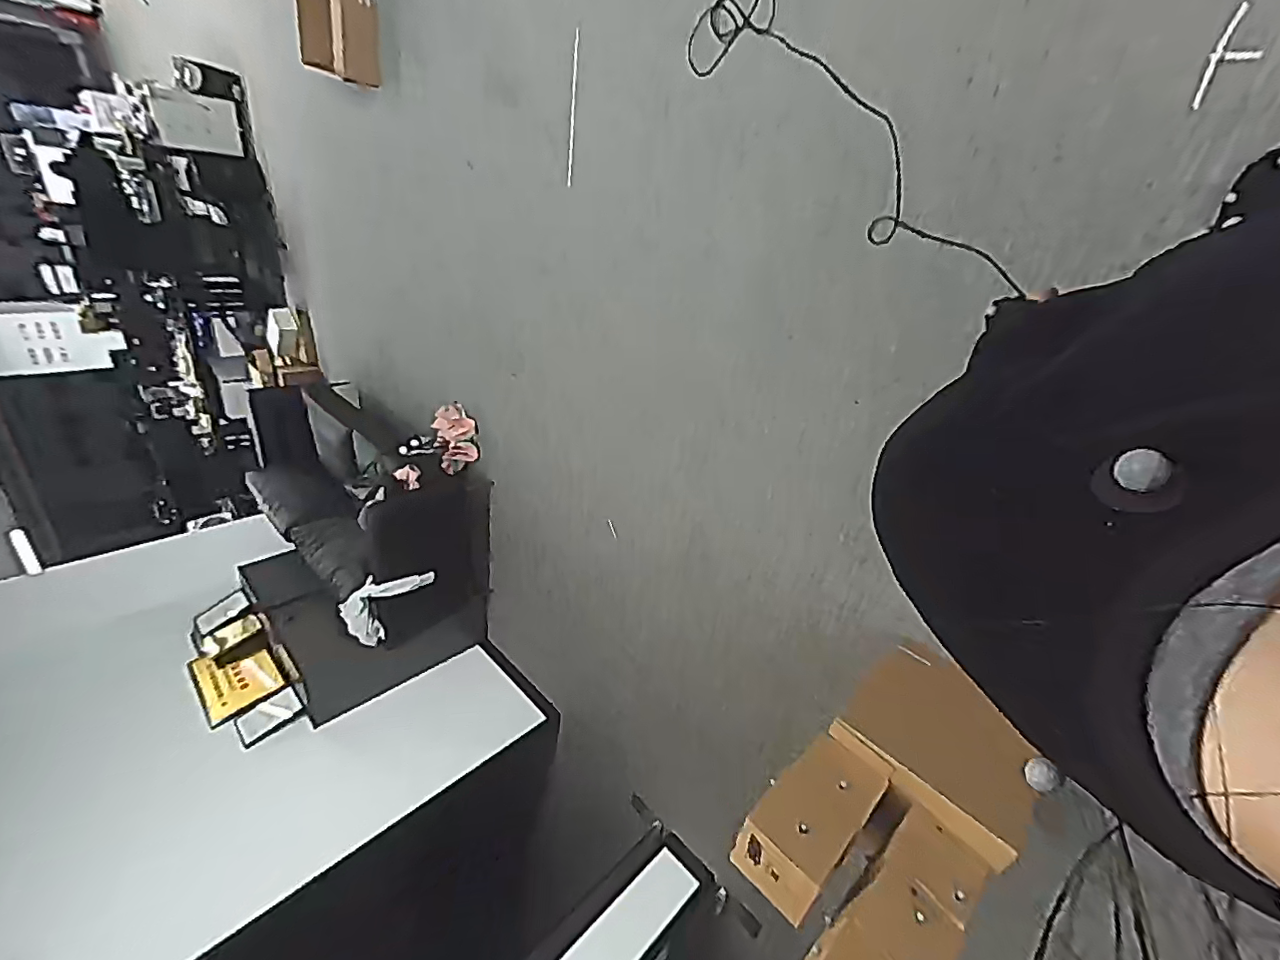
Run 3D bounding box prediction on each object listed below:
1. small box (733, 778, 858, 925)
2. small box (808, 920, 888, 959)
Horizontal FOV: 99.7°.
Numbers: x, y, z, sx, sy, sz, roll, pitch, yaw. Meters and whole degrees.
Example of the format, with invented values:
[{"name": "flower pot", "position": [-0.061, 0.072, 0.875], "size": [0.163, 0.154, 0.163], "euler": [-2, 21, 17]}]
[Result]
[{"name": "small box", "position": [0.334, 0.783, 1.166], "size": [0.179, 0.176, 0.168], "euler": [31, 125, 34]}, {"name": "small box", "position": [0.371, 0.935, 0.940], "size": [0.179, 0.176, 0.168], "euler": [38, 129, 32]}]
